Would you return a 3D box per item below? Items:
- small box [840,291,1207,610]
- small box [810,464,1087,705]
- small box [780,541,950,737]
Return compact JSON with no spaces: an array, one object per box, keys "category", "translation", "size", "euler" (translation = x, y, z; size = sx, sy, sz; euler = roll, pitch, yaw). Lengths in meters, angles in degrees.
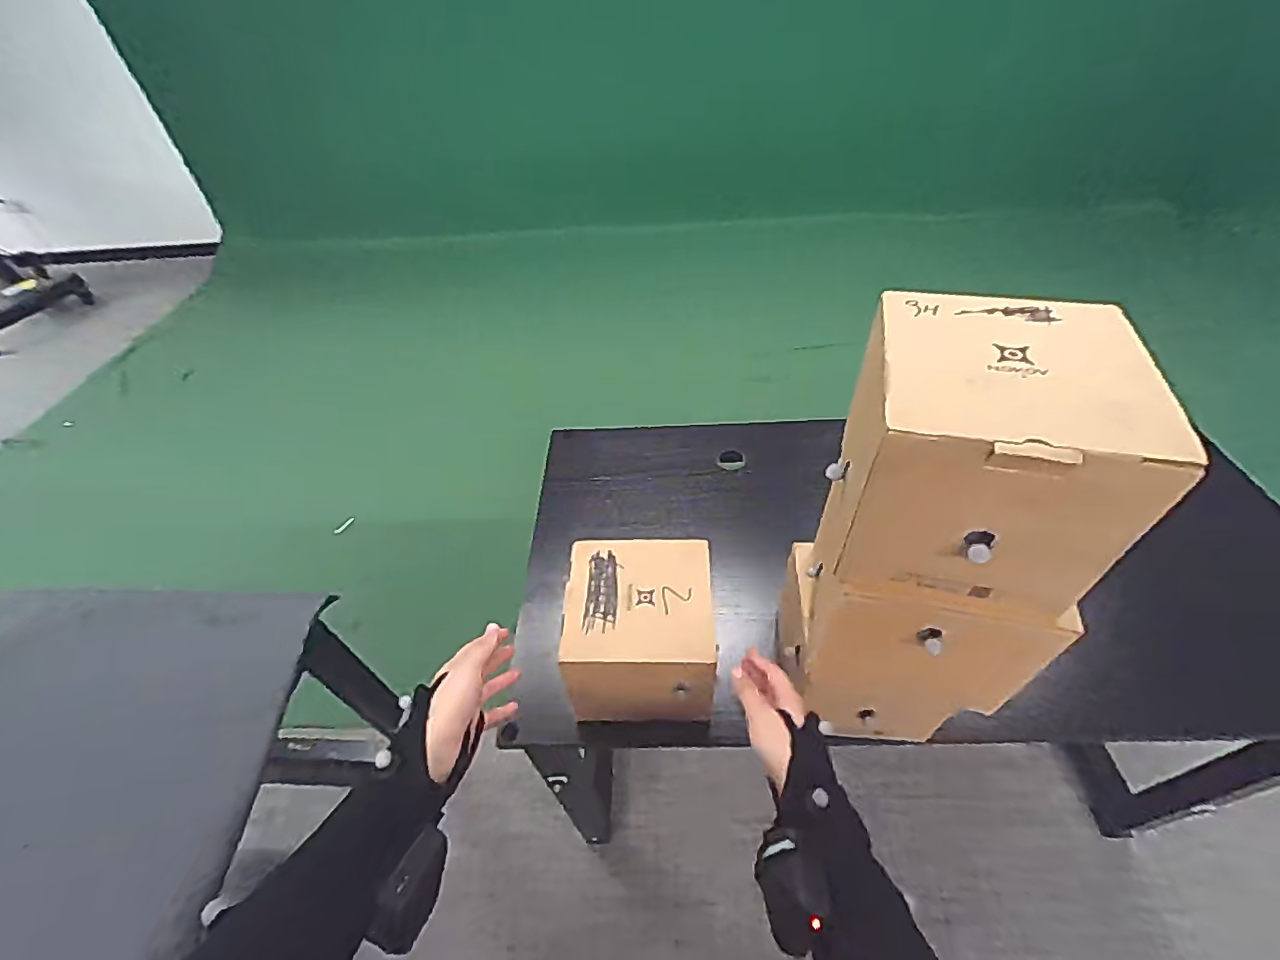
[{"category":"small box","translation":[0.257,-0.023,0.420],"size":[0.168,0.176,0.179],"euler":[9,49,14]},{"category":"small box","translation":[0.273,0.100,0.528],"size":[0.179,0.176,0.168],"euler":[7,48,12]},{"category":"small box","translation":[0.270,0.196,0.661],"size":[0.168,0.176,0.179],"euler":[2,47,6]}]
